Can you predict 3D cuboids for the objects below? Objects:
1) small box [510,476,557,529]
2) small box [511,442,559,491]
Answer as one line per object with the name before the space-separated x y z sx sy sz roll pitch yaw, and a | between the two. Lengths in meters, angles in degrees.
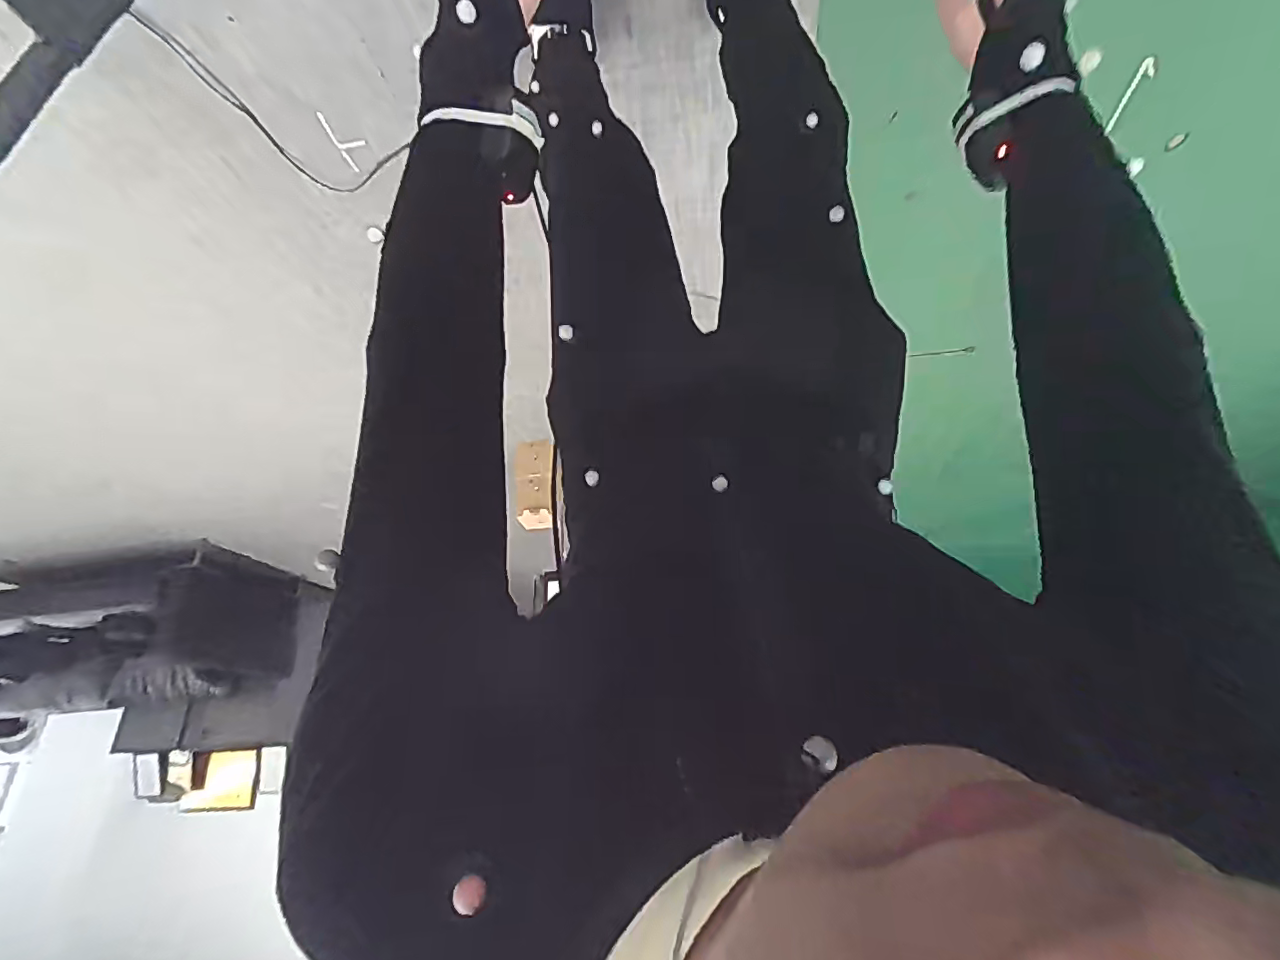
small box | -0.444 0.095 2.279 0.168 0.176 0.179 -4 154 1
small box | -0.451 -0.058 2.341 0.168 0.176 0.179 -5 153 5
